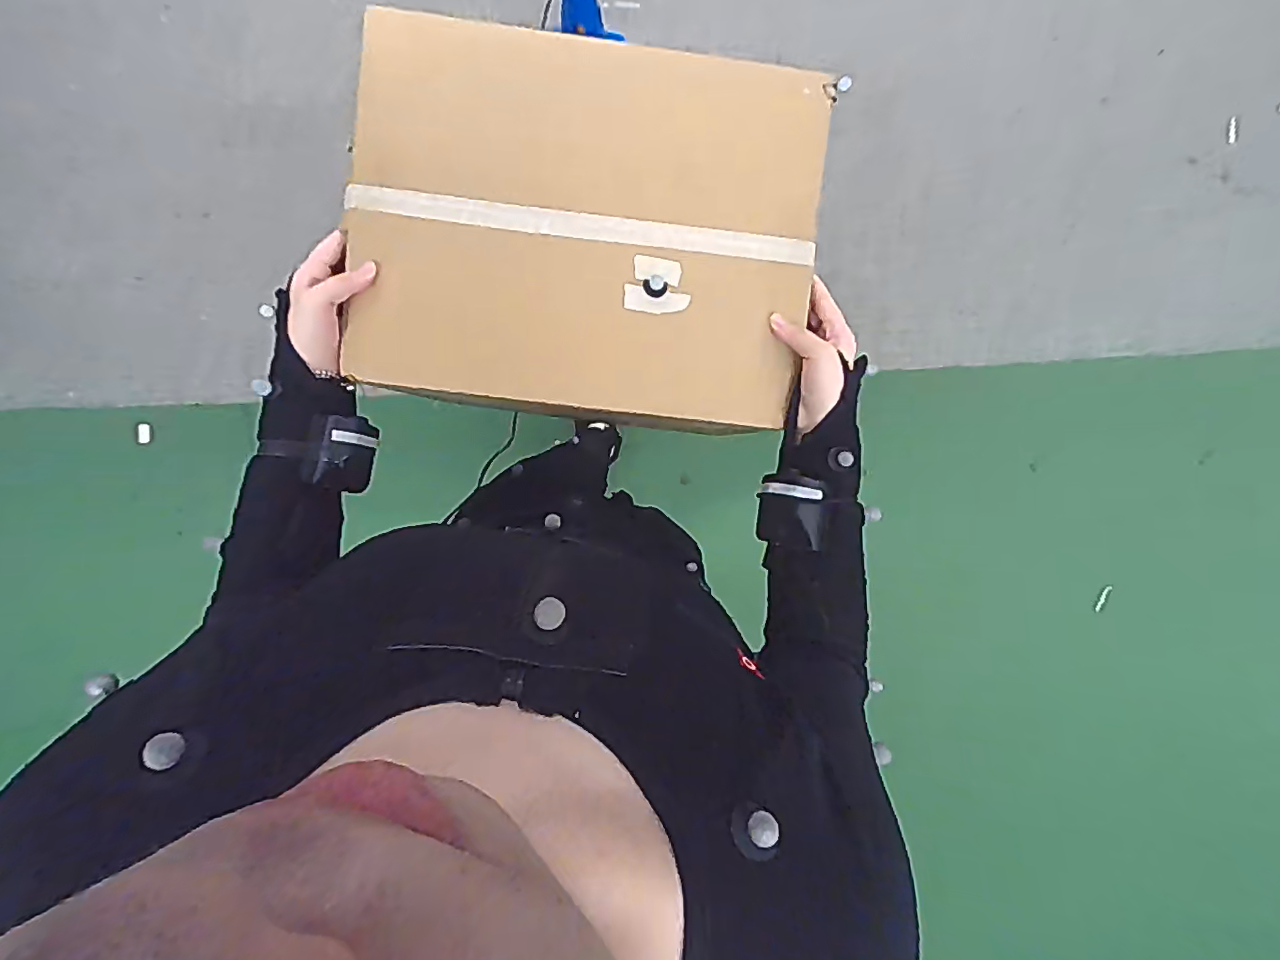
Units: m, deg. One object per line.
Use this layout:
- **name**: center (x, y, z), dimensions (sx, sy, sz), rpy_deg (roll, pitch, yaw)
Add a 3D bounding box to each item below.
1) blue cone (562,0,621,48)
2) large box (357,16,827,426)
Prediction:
- **blue cone**: center (-0.138, -1.072, 1.279), dimensions (0.193, 0.380, 0.192), rpy_deg (6, 93, -2)
- **large box**: center (-0.052, -0.239, 0.631), dimensions (0.408, 0.320, 0.320), rpy_deg (6, 94, -4)
